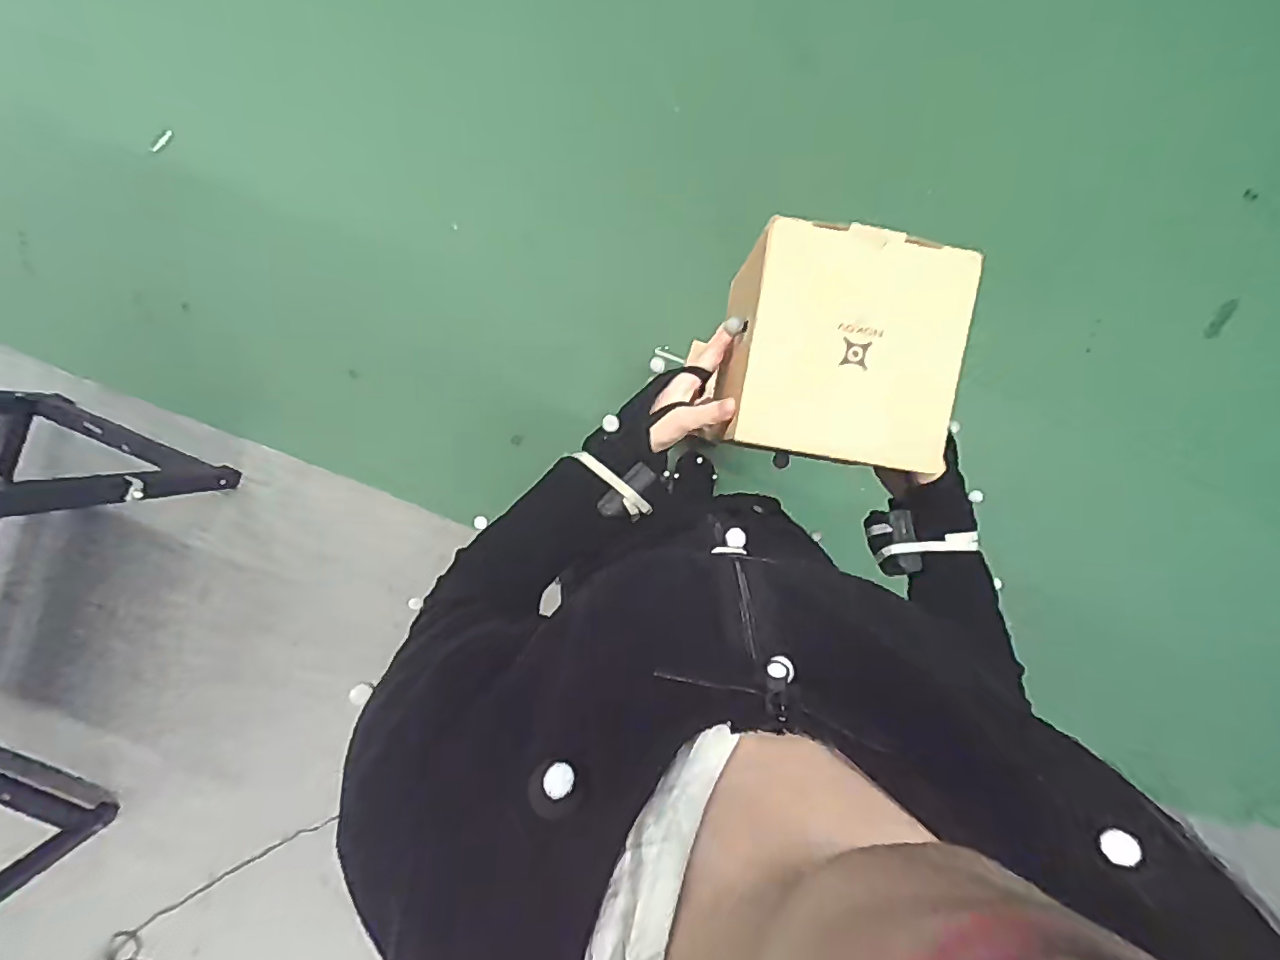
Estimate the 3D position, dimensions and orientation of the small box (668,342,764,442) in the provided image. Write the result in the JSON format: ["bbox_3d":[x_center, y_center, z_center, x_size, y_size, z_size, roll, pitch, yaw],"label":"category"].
[{"bbox_3d":[0.166,-0.196,1.247,0.168,0.176,0.179,19,94,1],"label":"small box"}]
